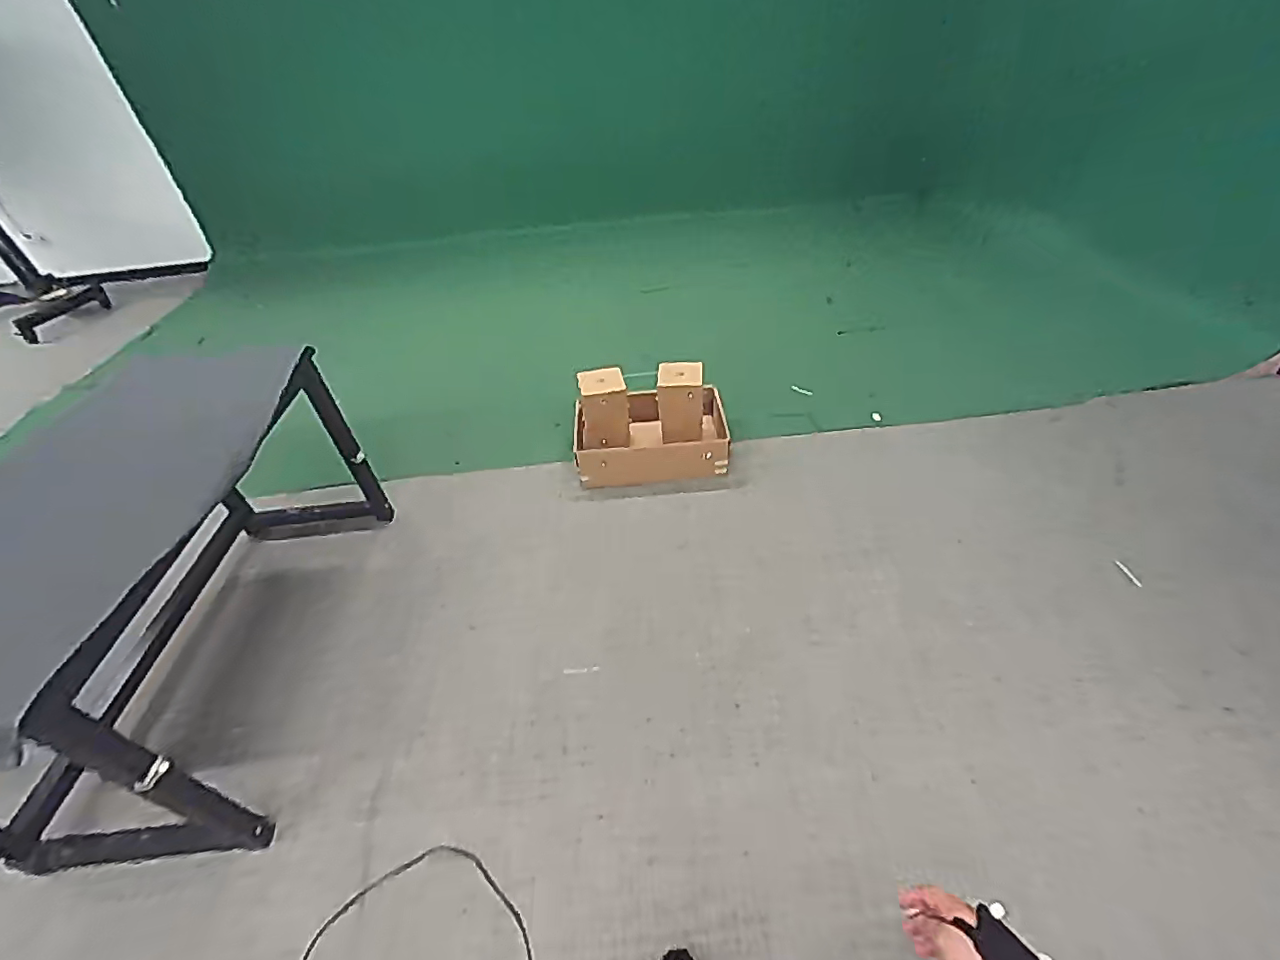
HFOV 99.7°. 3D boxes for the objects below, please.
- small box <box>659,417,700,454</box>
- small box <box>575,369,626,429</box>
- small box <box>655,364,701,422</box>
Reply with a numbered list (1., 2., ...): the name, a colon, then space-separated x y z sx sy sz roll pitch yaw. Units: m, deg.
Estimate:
1. small box: 0.166 -0.227 2.272 0.168 0.176 0.179 -1 44 6
2. small box: -0.156 -0.321 2.158 0.179 0.176 0.168 -9 44 -8
3. small box: 0.155 -0.345 2.158 0.179 0.176 0.168 0 42 6
